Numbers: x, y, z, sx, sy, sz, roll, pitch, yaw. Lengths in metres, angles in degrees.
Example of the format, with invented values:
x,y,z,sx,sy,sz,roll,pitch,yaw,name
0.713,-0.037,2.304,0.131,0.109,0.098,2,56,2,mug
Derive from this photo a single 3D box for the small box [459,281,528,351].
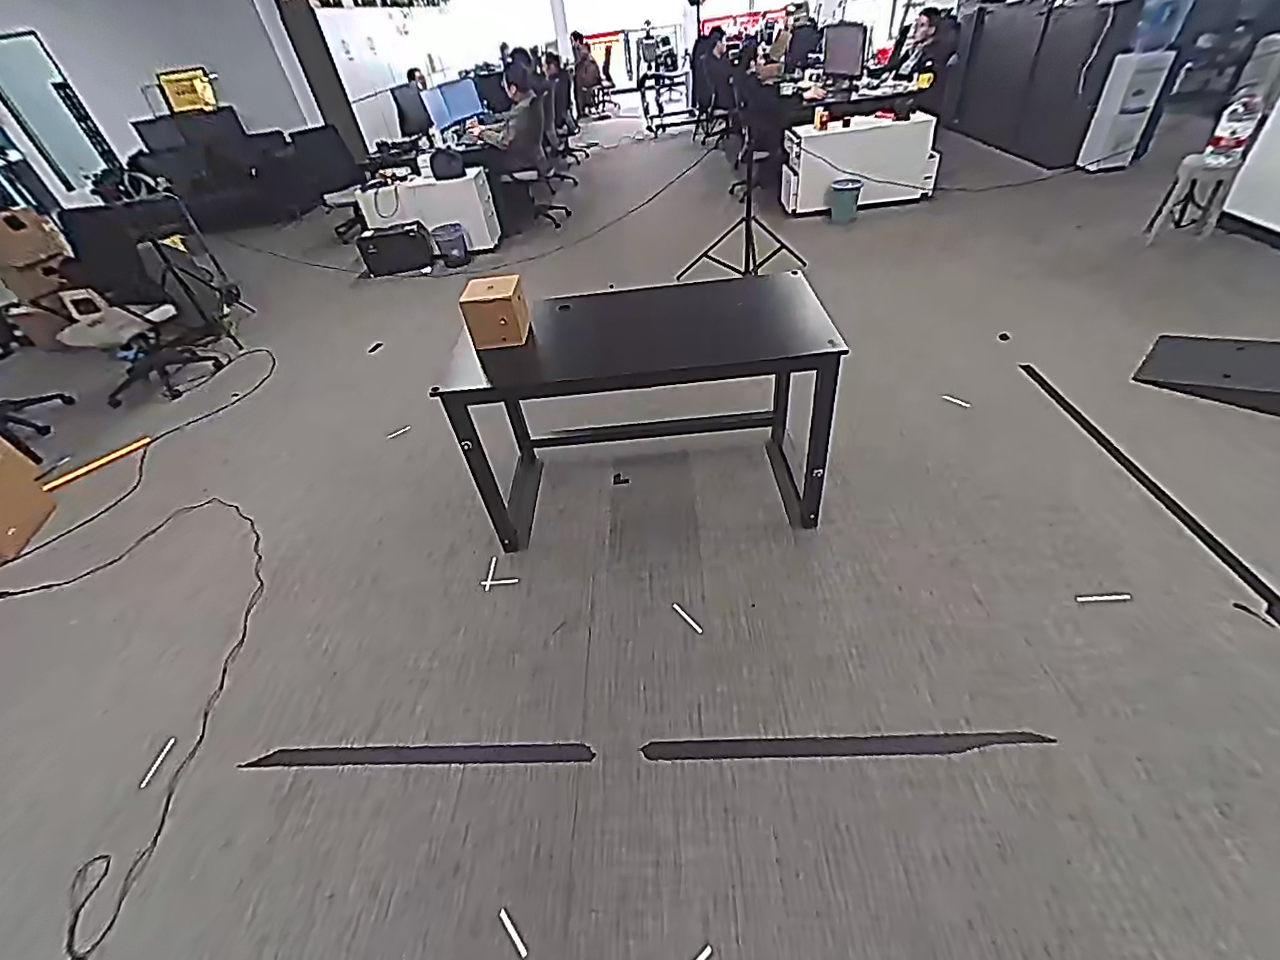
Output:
x,y,z,sx,sy,sz,roll,pitch,yaw,name
-0.471,-0.533,1.774,0.168,0.176,0.179,-5,40,2,small box
